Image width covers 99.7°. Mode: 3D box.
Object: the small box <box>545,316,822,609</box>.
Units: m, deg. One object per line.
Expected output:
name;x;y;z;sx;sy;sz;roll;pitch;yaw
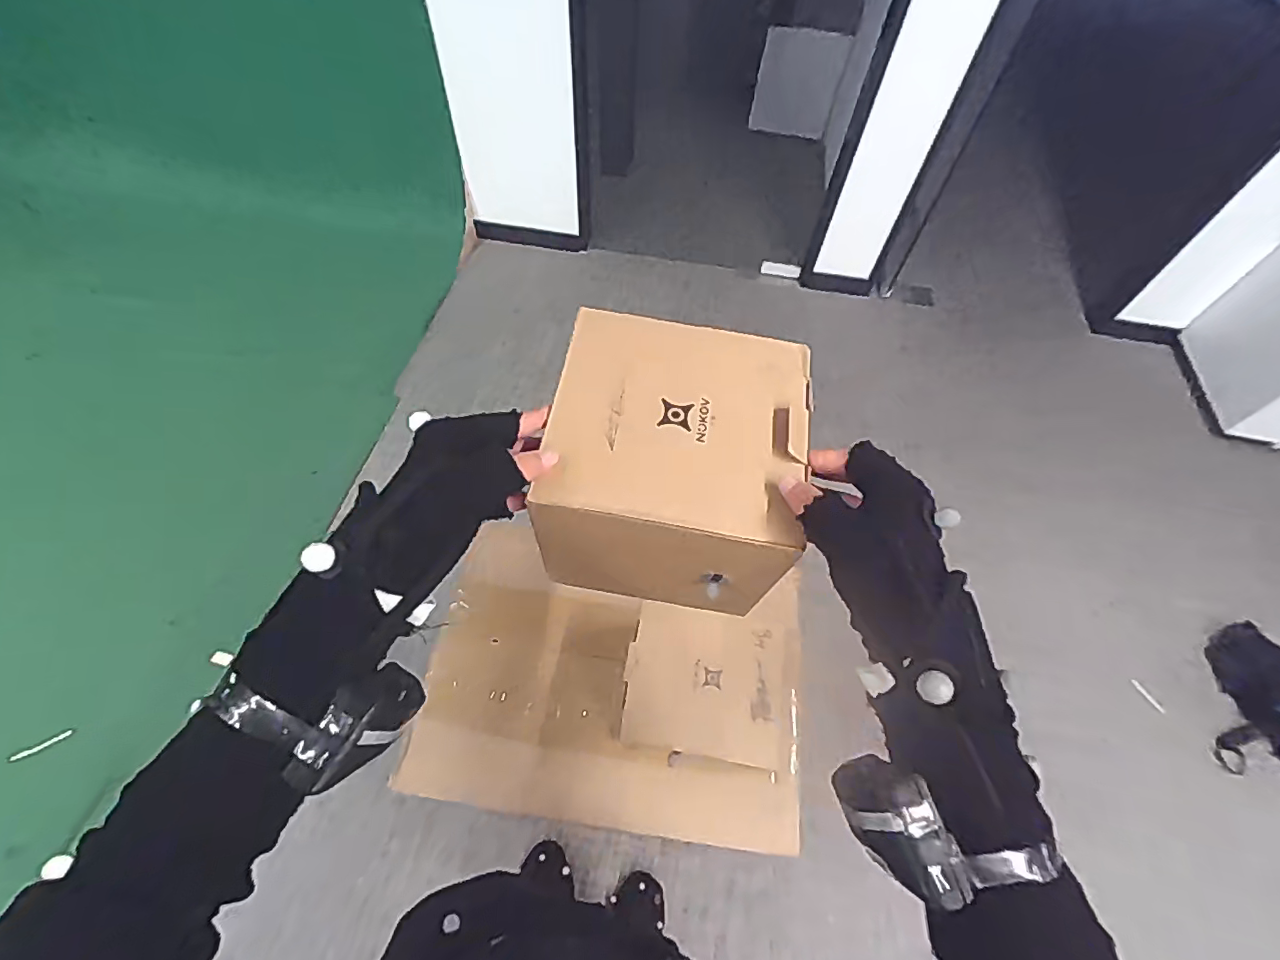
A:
small box;0.034;-0.003;0.441;0.179;0.176;0.168;8;61;2

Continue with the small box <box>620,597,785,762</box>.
small box;0.075;0.256;0.693;0.179;0.176;0.168;10;62;3
